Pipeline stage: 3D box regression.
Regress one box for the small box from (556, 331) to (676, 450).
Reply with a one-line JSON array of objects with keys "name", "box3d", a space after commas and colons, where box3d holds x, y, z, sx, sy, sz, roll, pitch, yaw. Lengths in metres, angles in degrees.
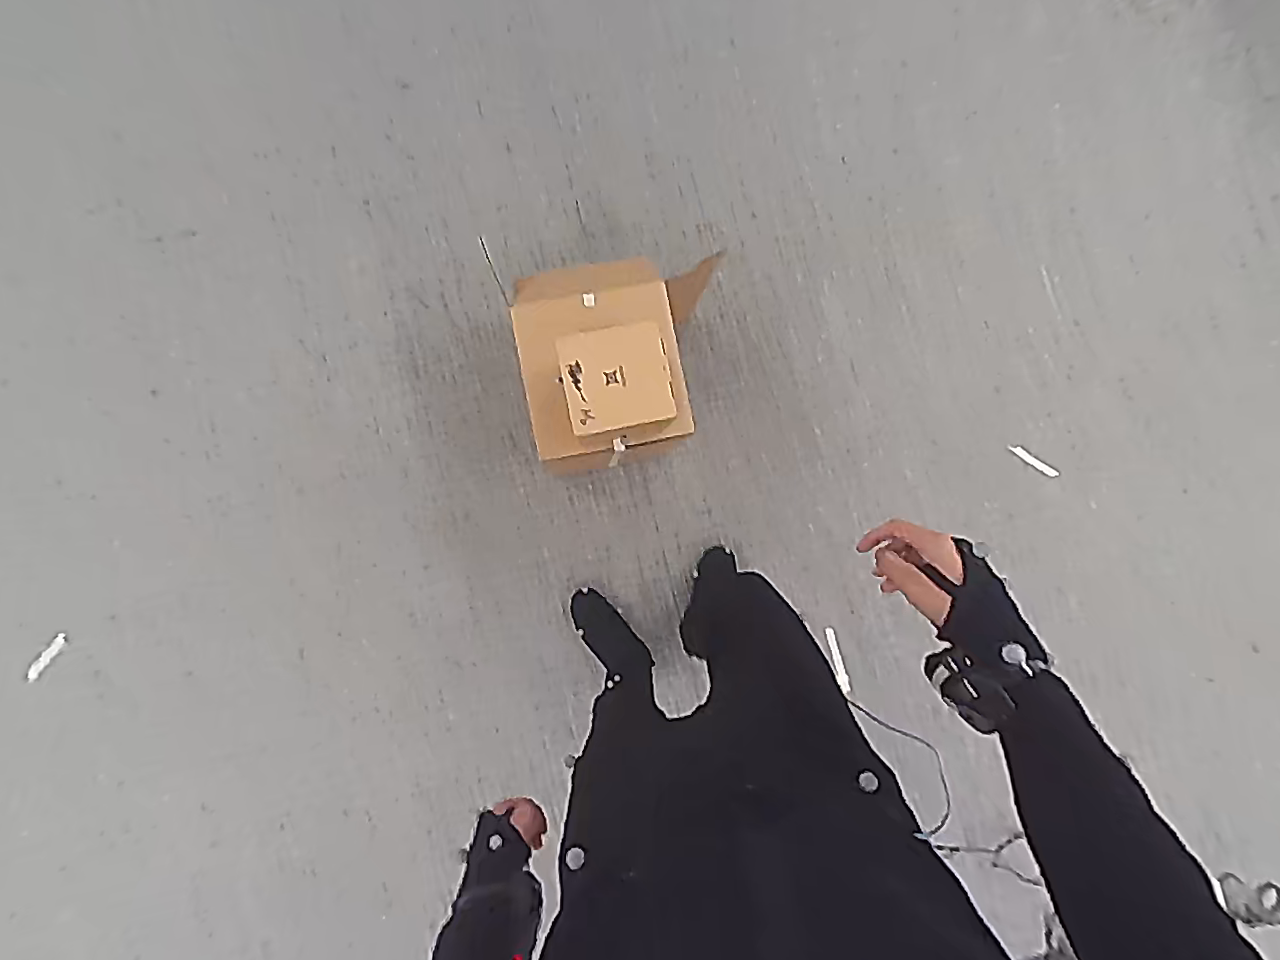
[{"name": "small box", "box3d": [-0.046, -0.152, 0.965, 0.179, 0.176, 0.168, -12, 90, -5]}]
